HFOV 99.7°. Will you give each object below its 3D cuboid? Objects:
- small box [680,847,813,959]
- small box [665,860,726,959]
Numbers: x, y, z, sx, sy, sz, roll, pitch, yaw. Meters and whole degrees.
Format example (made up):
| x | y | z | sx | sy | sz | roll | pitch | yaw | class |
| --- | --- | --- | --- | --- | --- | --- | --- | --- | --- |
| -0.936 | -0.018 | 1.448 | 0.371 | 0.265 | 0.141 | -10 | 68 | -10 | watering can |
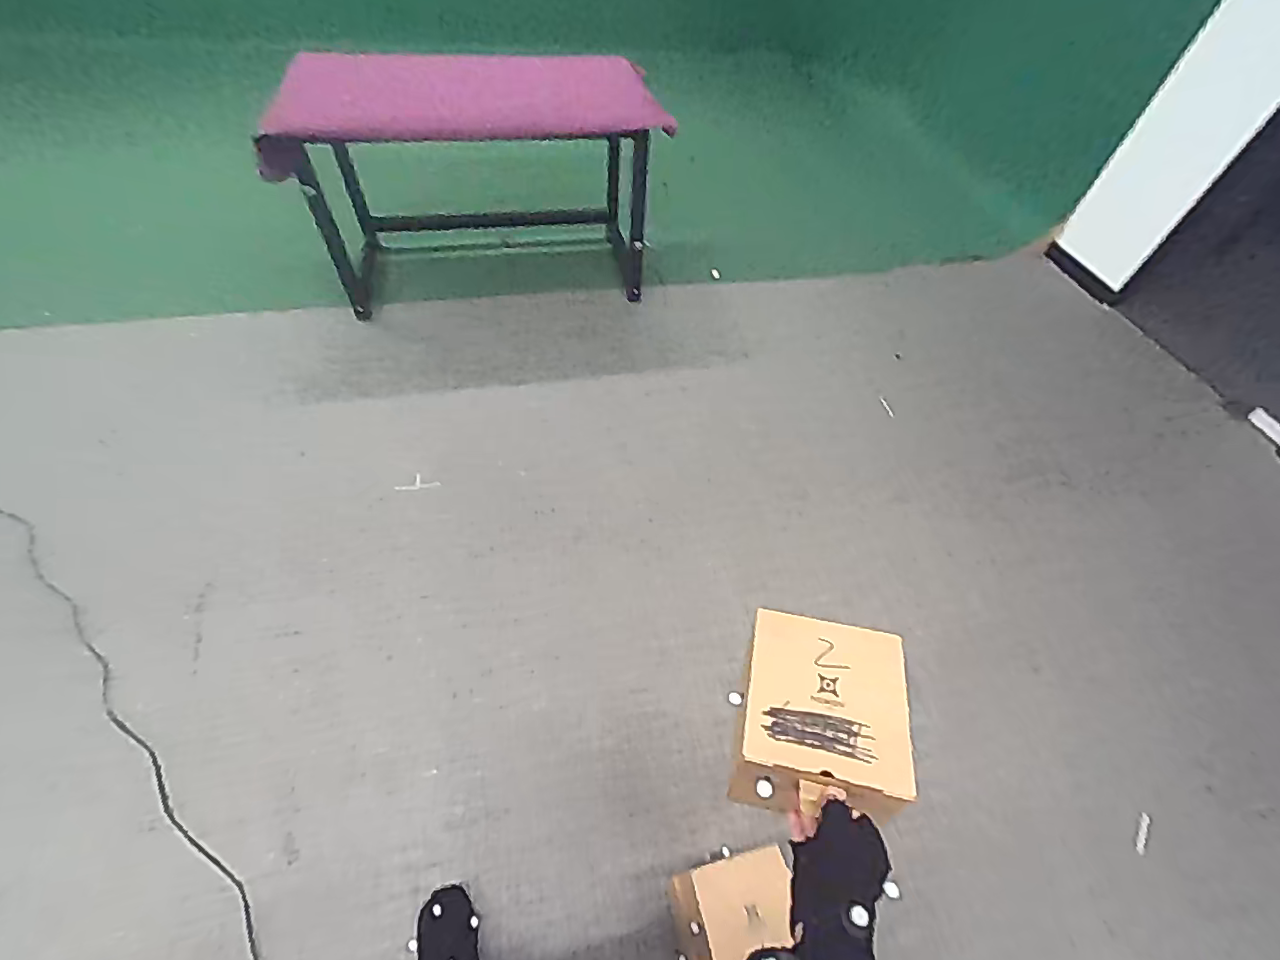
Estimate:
| x | y | z | sx | sy | sz | roll | pitch | yaw | class |
| --- | --- | --- | --- | --- | --- | --- | --- | --- | --- |
| 0.177 | 0.778 | 0.955 | 0.168 | 0.176 | 0.179 | -9 | 55 | -12 | small box |
| 0.155 | 0.881 | 1.082 | 0.168 | 0.176 | 0.179 | -9 | 54 | -12 | small box |
